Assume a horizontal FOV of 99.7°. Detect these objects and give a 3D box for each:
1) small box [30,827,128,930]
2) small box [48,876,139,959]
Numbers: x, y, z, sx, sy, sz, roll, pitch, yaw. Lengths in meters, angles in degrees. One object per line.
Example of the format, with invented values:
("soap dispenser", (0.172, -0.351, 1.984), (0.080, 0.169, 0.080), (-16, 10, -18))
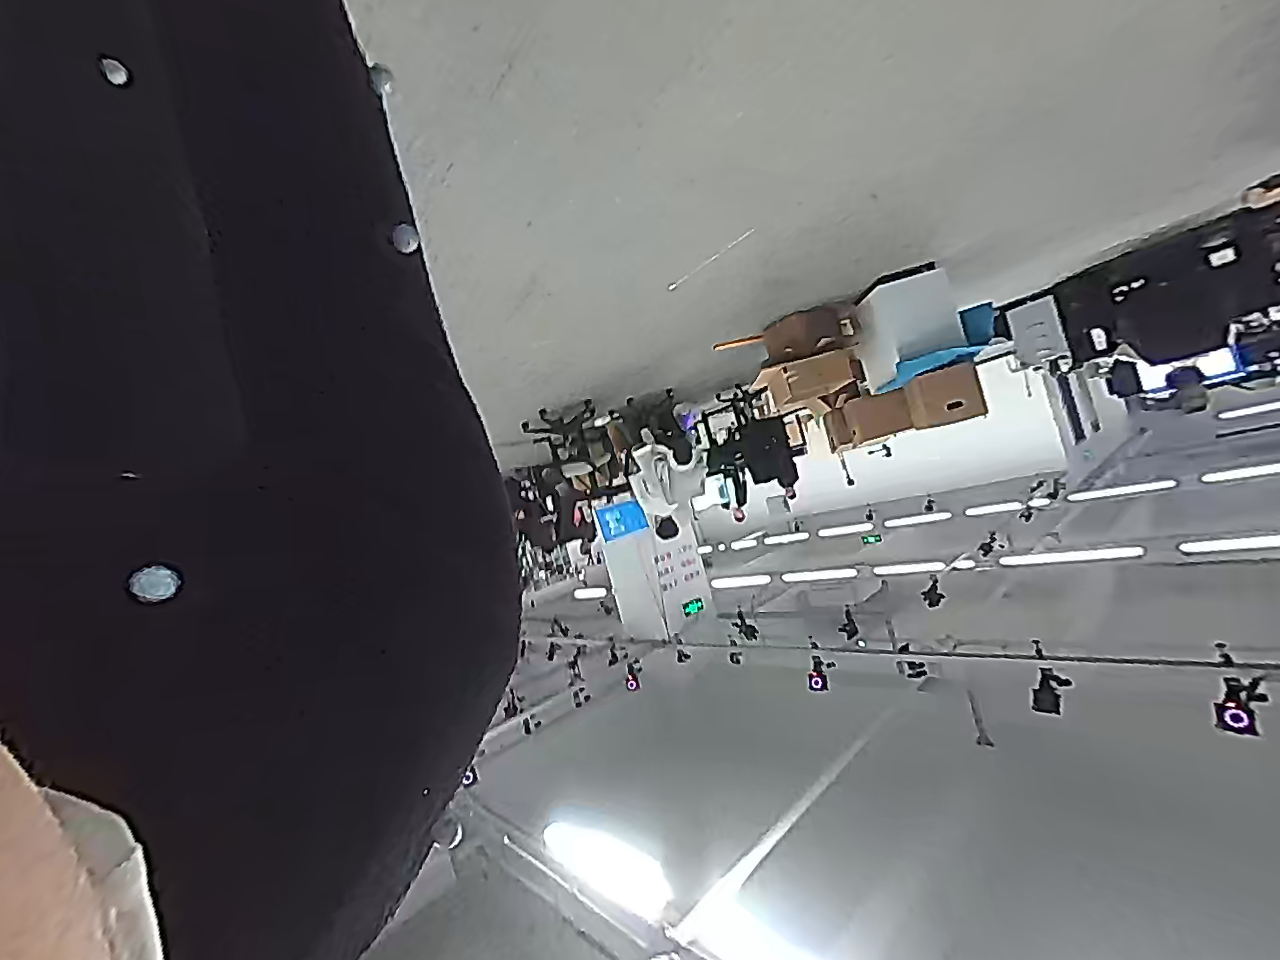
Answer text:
("small box", (-1.696, 1.191, 1.641), (0.179, 0.176, 0.168), (-14, 179, -43))
("small box", (-1.657, 1.351, 1.646), (0.168, 0.176, 0.179), (-14, 179, -43))
